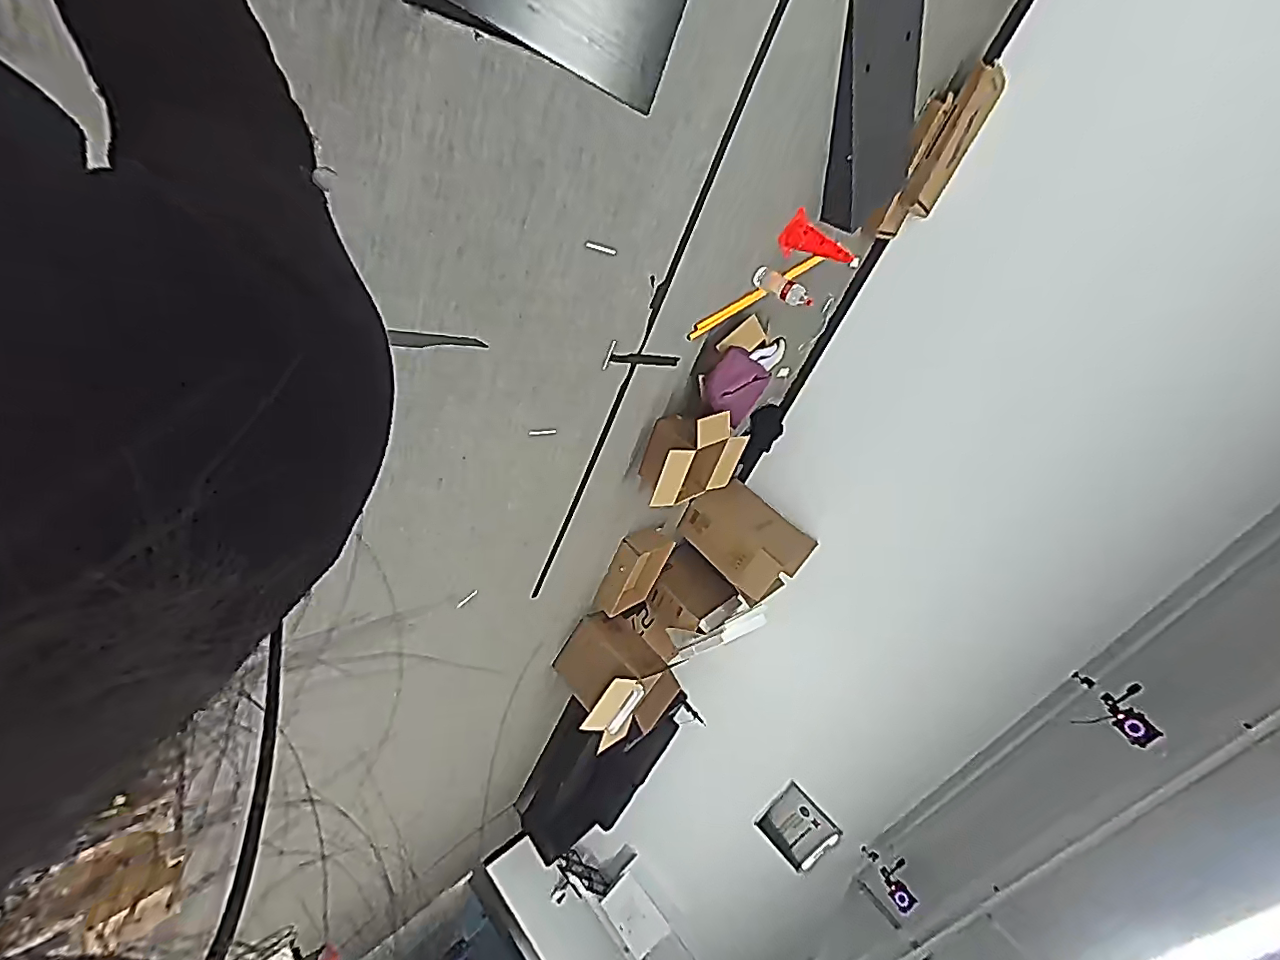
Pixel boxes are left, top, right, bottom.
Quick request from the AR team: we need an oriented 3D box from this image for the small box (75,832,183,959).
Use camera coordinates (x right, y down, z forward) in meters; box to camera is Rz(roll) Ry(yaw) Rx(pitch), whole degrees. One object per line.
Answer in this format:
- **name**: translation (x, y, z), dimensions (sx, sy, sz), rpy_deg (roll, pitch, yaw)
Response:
- **small box**: translation (-1.325, 1.069, 1.406), dimensions (0.168, 0.176, 0.179), rpy_deg (-18, 136, -48)
